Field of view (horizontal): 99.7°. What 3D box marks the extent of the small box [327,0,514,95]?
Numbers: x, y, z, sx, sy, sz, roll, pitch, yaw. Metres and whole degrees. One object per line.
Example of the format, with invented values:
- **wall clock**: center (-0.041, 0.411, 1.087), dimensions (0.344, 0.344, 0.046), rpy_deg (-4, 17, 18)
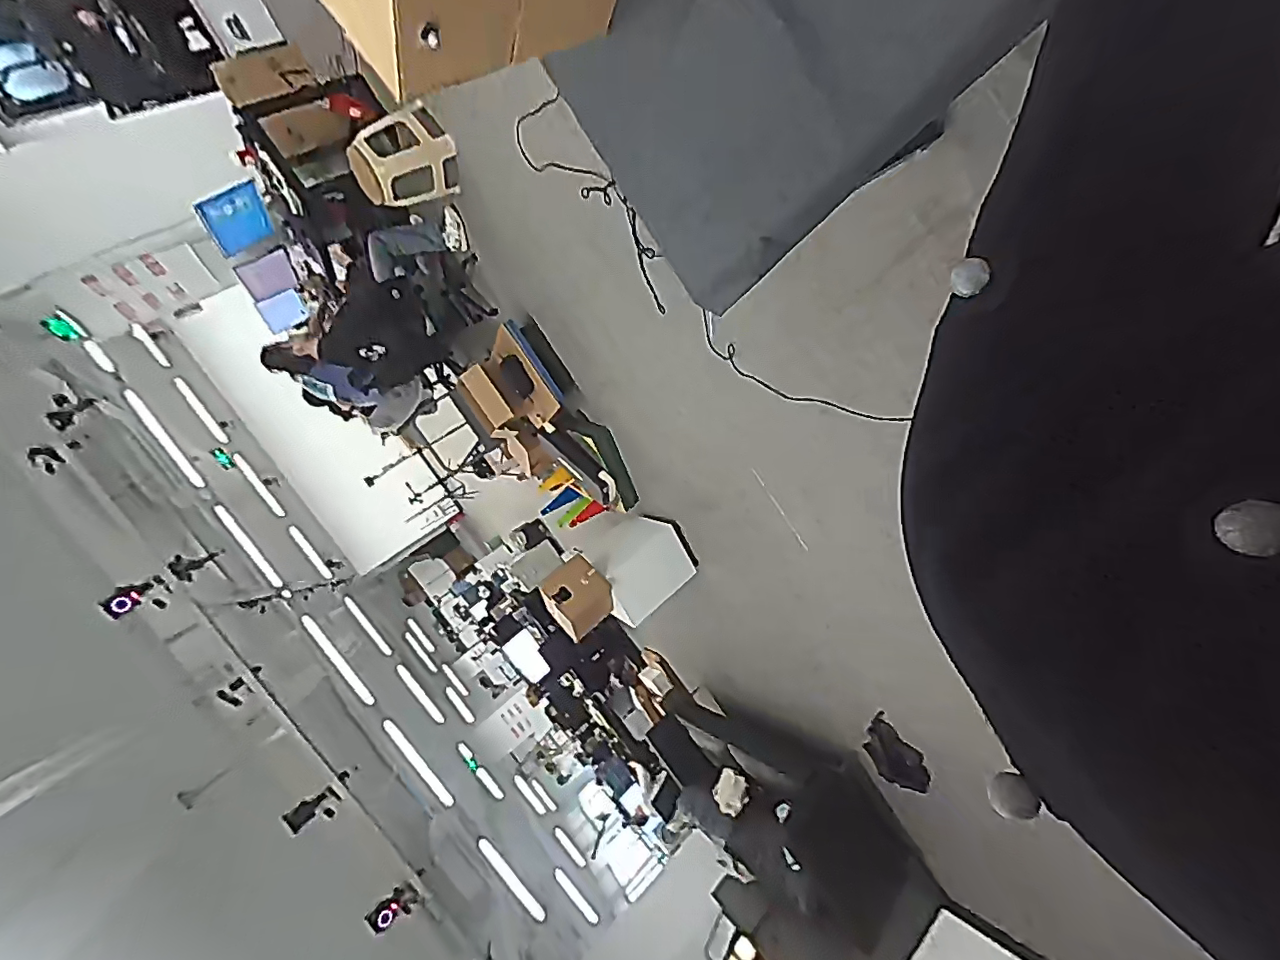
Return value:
- **small box**: center (-0.245, -0.580, 0.588), dimensions (0.168, 0.176, 0.179), rpy_deg (52, 156, -4)
